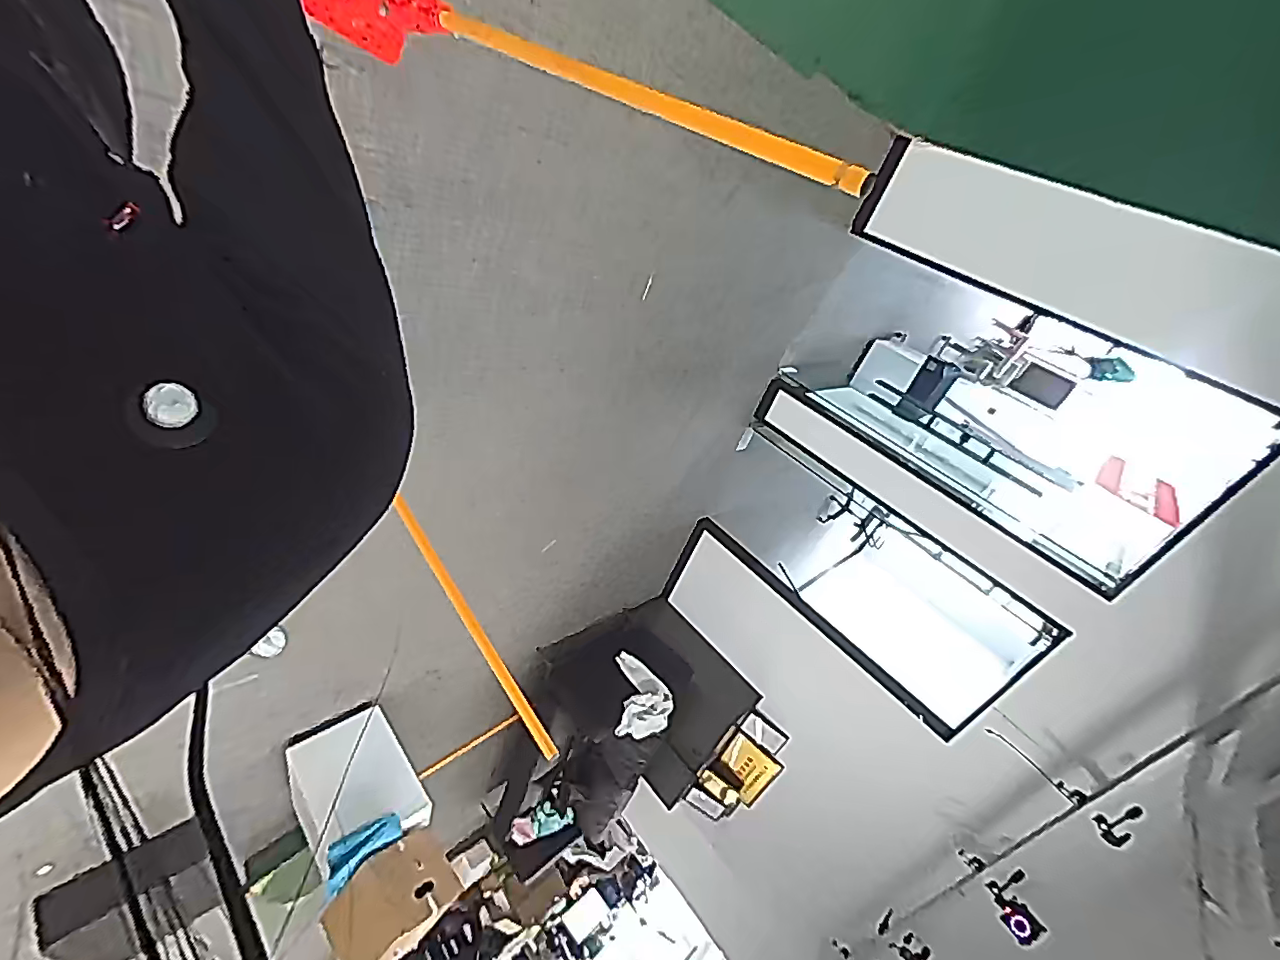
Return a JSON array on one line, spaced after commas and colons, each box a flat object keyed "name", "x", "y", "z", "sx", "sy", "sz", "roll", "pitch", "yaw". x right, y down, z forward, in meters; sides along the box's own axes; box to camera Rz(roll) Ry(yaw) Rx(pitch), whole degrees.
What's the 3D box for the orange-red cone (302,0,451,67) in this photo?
[{"name": "orange-red cone", "x": -0.455, "y": -0.894, "z": 1.020, "sx": 0.198, "sy": 0.360, "sz": 0.199, "roll": 1, "pitch": 126, "yaw": -53}]
